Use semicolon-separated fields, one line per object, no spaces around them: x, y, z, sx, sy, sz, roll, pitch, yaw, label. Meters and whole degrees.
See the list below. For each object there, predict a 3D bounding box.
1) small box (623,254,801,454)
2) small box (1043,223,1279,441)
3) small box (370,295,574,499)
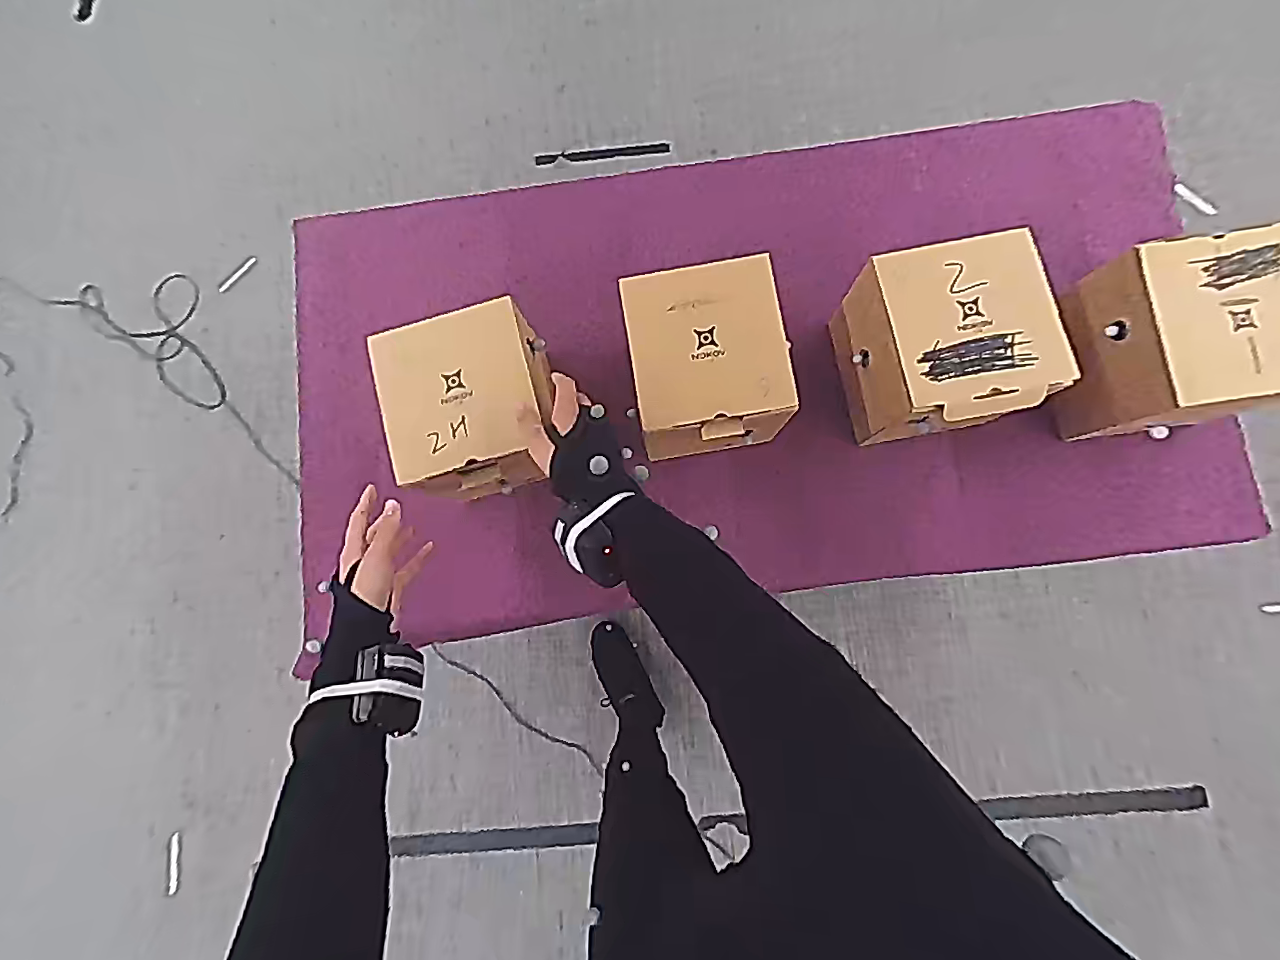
0.078;-0.133;0.641;0.168;0.176;0.179;-9;81;1;small box
0.602;-0.154;0.610;0.168;0.176;0.179;-8;82;3;small box
-0.188;-0.086;0.648;0.168;0.176;0.179;-16;82;1;small box
